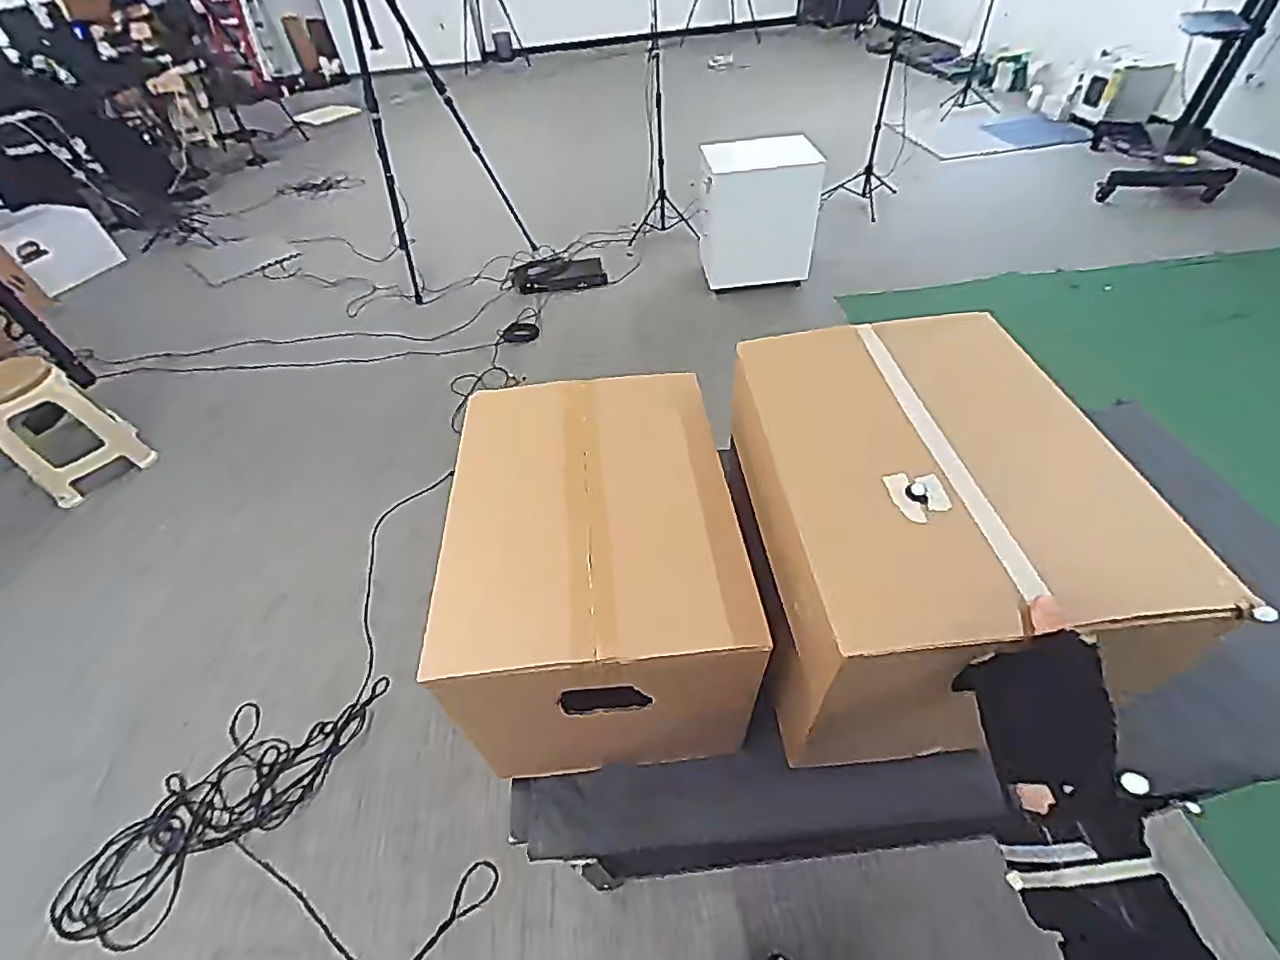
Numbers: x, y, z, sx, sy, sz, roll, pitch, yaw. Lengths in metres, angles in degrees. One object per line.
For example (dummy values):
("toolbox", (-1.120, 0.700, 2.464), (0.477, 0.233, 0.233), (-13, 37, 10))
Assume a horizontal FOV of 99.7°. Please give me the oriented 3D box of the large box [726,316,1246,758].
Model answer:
("large box", (0.295, 0.062, 0.642), (0.320, 0.320, 0.408), (-8, 49, 2))
